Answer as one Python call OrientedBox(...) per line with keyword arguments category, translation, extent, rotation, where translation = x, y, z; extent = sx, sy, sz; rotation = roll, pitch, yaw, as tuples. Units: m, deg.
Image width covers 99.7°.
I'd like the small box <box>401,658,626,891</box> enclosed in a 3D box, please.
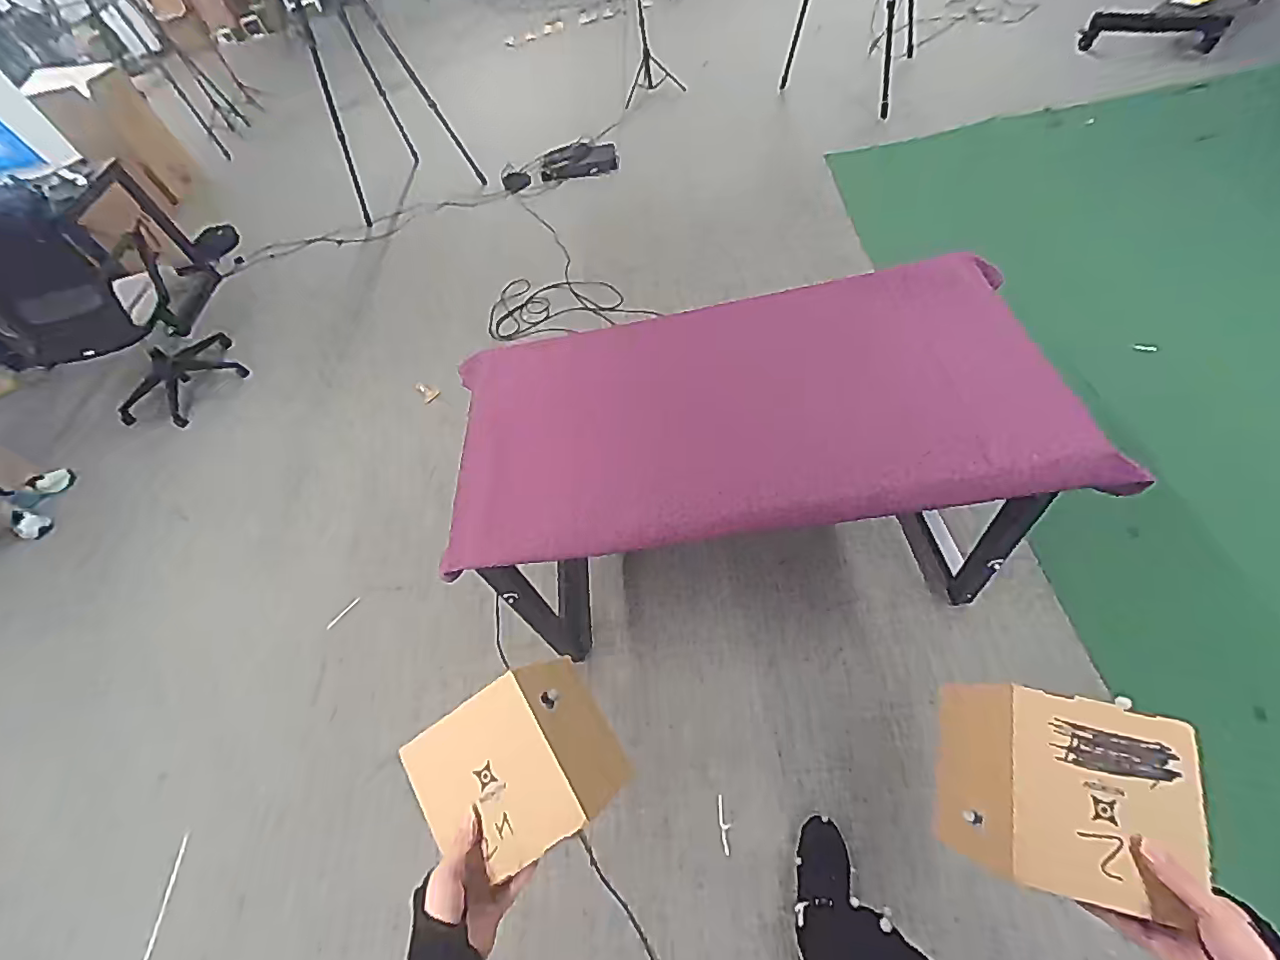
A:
OrientedBox(category="small box", translation=(-0.143, 0.332, 0.655), extent=(0.168, 0.176, 0.179), rotation=(-36, 71, 5))
